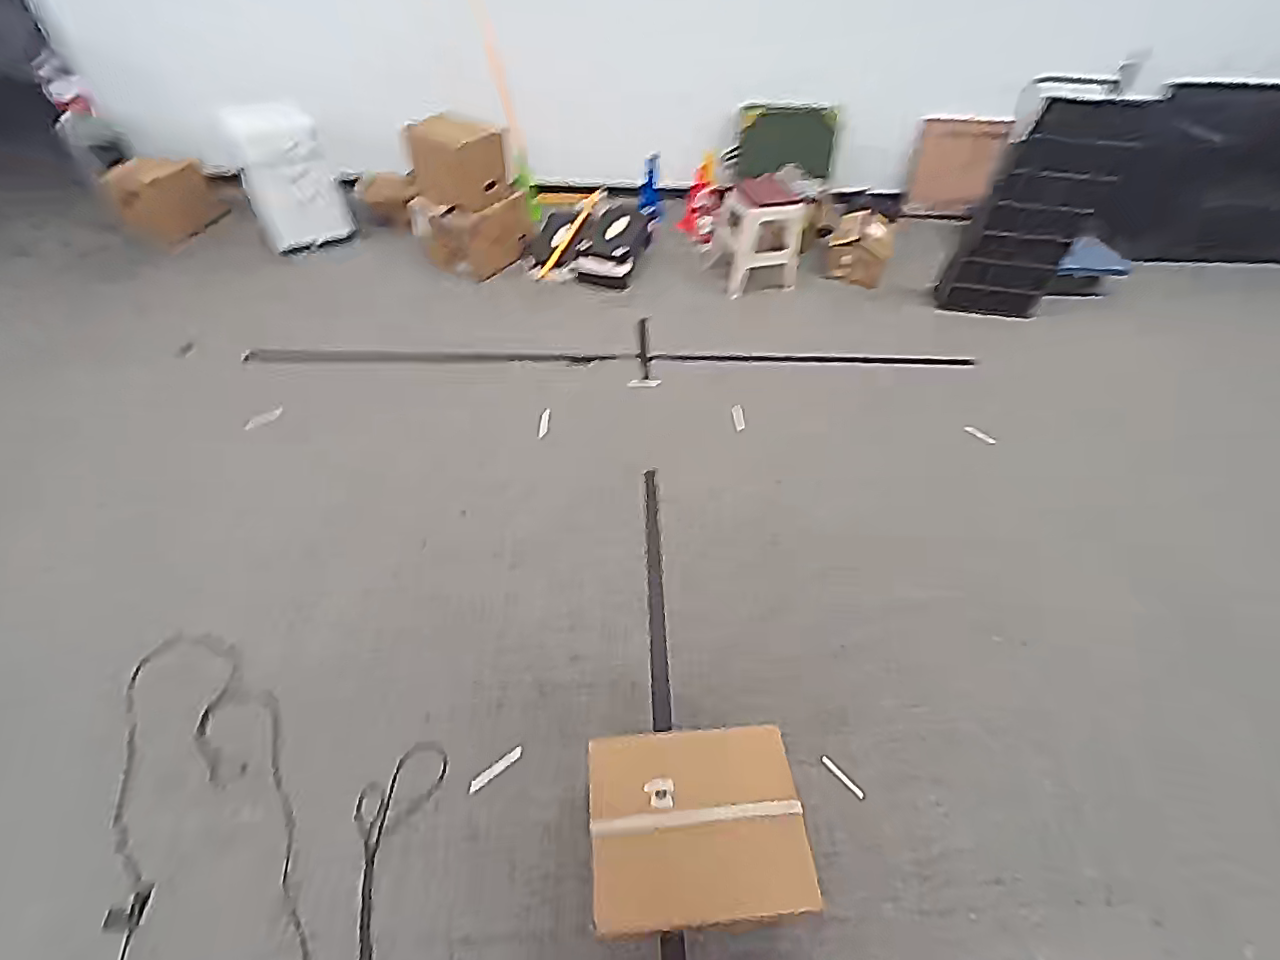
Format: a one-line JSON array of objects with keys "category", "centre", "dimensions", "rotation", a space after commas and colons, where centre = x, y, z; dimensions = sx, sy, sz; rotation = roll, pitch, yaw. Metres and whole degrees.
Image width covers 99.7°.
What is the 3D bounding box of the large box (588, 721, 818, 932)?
[{"category": "large box", "centre": [0.102, 0.735, 1.146], "dimensions": [0.408, 0.320, 0.320], "rotation": [-2, 48, -5]}]
